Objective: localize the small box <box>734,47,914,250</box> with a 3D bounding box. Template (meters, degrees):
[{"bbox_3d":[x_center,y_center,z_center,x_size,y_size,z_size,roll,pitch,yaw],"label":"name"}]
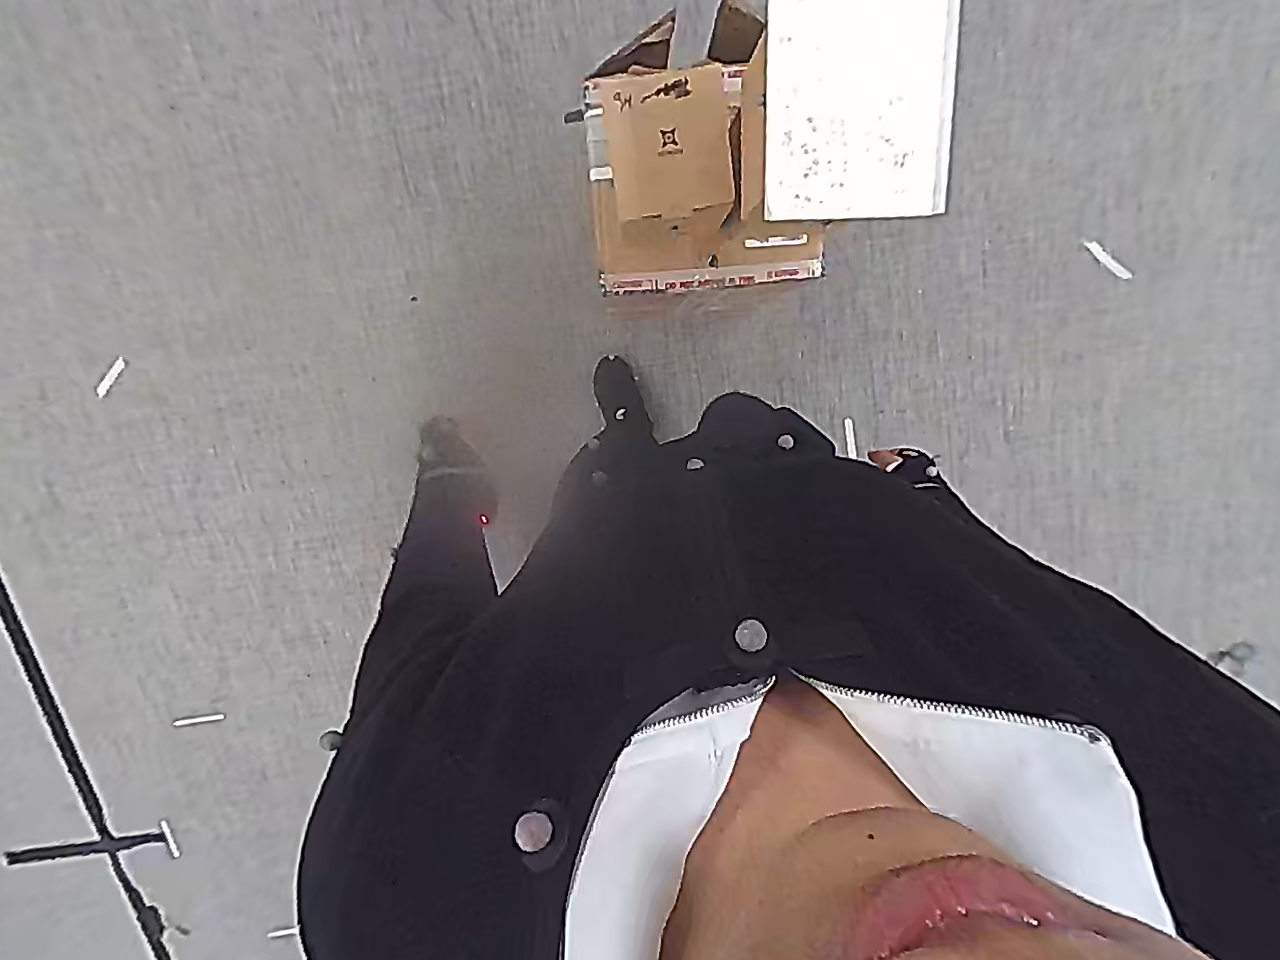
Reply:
[{"bbox_3d":[0.216,-0.400,0.681,0.168,0.176,0.179,-3,103,-3],"label":"small box"}]
